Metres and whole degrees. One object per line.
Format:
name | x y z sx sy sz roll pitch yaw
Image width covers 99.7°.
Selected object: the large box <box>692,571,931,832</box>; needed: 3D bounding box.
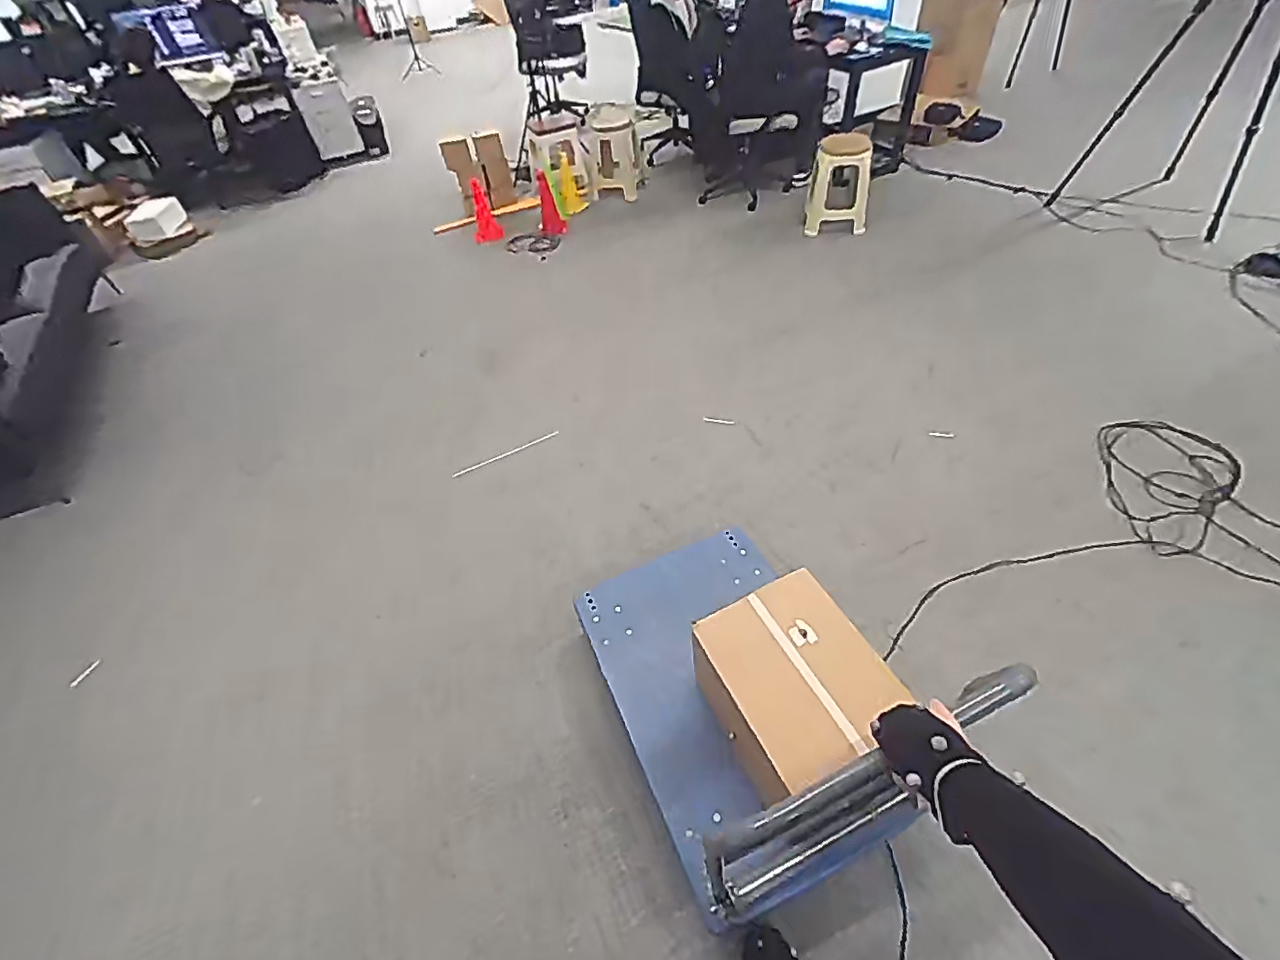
large box | 0.357 0.496 1.235 0.320 0.320 0.408 -23 49 -13
